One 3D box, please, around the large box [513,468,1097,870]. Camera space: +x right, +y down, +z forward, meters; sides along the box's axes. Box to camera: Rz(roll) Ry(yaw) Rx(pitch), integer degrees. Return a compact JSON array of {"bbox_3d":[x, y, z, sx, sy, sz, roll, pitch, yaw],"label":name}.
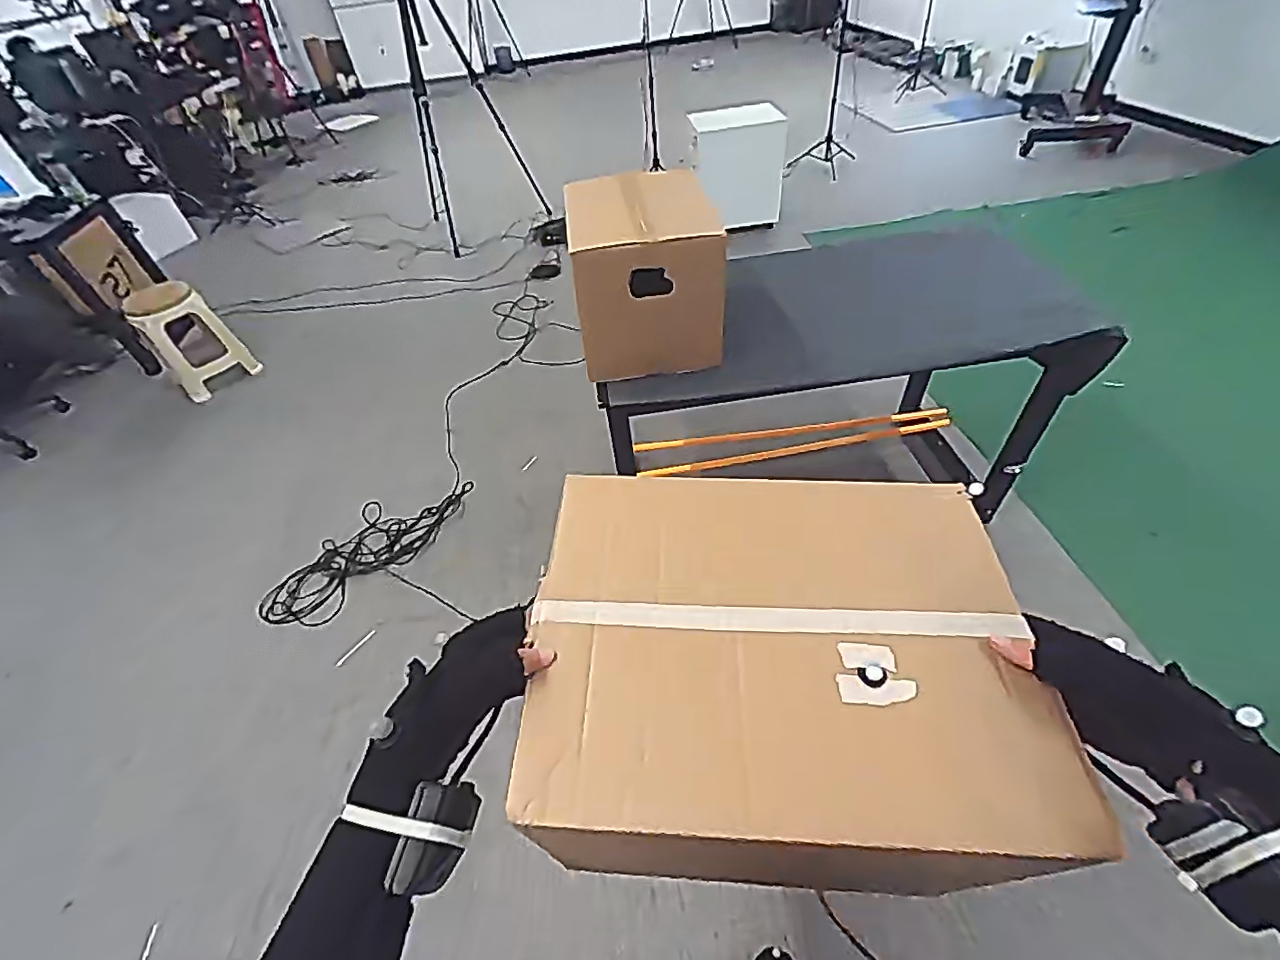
[{"bbox_3d":[0.114,0.205,0.573,0.408,0.320,0.320,2,51,2],"label":"large box"}]
